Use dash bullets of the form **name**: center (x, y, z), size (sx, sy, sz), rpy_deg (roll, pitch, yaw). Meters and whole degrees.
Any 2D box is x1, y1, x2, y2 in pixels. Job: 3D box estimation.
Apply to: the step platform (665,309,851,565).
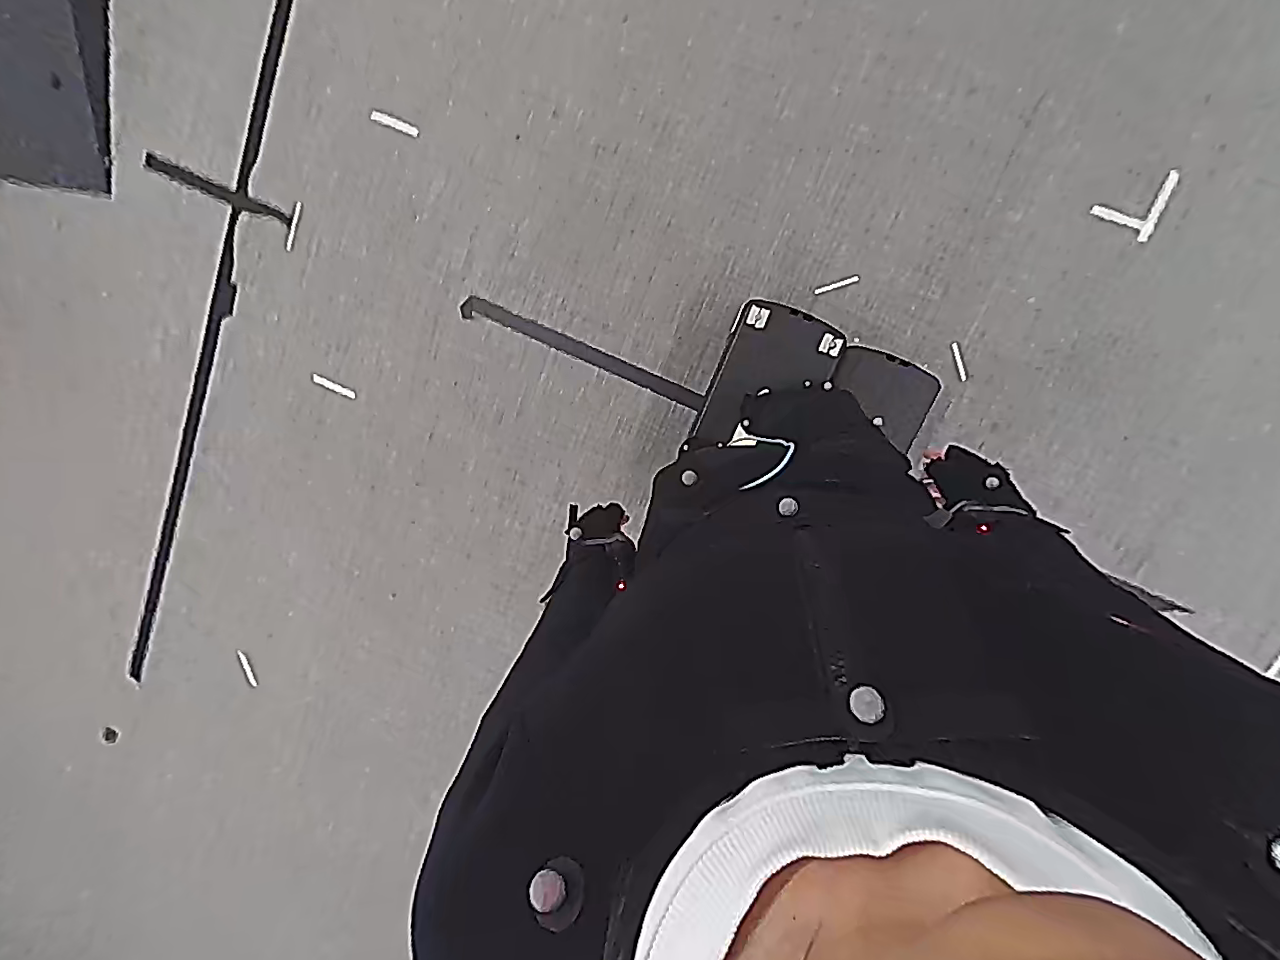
- **step platform**: center (0.312, -0.113, 1.501), size (0.286, 0.204, 0.684), rpy_deg (22, 100, 3)
